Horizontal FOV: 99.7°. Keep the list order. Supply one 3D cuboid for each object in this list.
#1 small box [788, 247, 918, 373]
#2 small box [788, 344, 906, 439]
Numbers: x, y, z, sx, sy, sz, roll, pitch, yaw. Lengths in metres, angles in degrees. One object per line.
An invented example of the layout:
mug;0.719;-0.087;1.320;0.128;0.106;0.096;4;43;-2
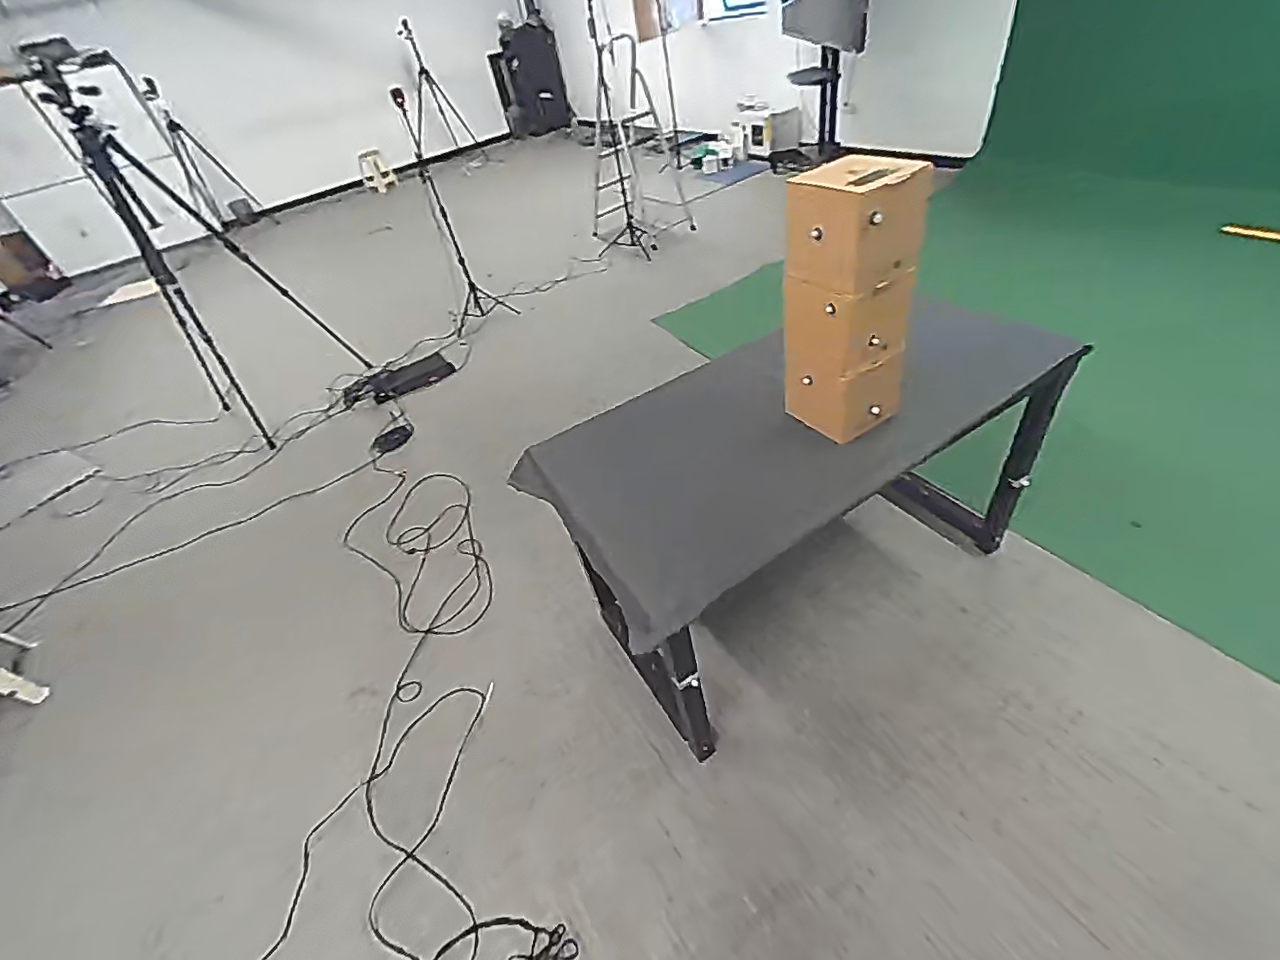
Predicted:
small box;0.409;-0.337;1.072;0.168;0.176;0.179;-28;44;-17
small box;0.439;-0.216;1.176;0.168;0.176;0.179;-28;44;-16
